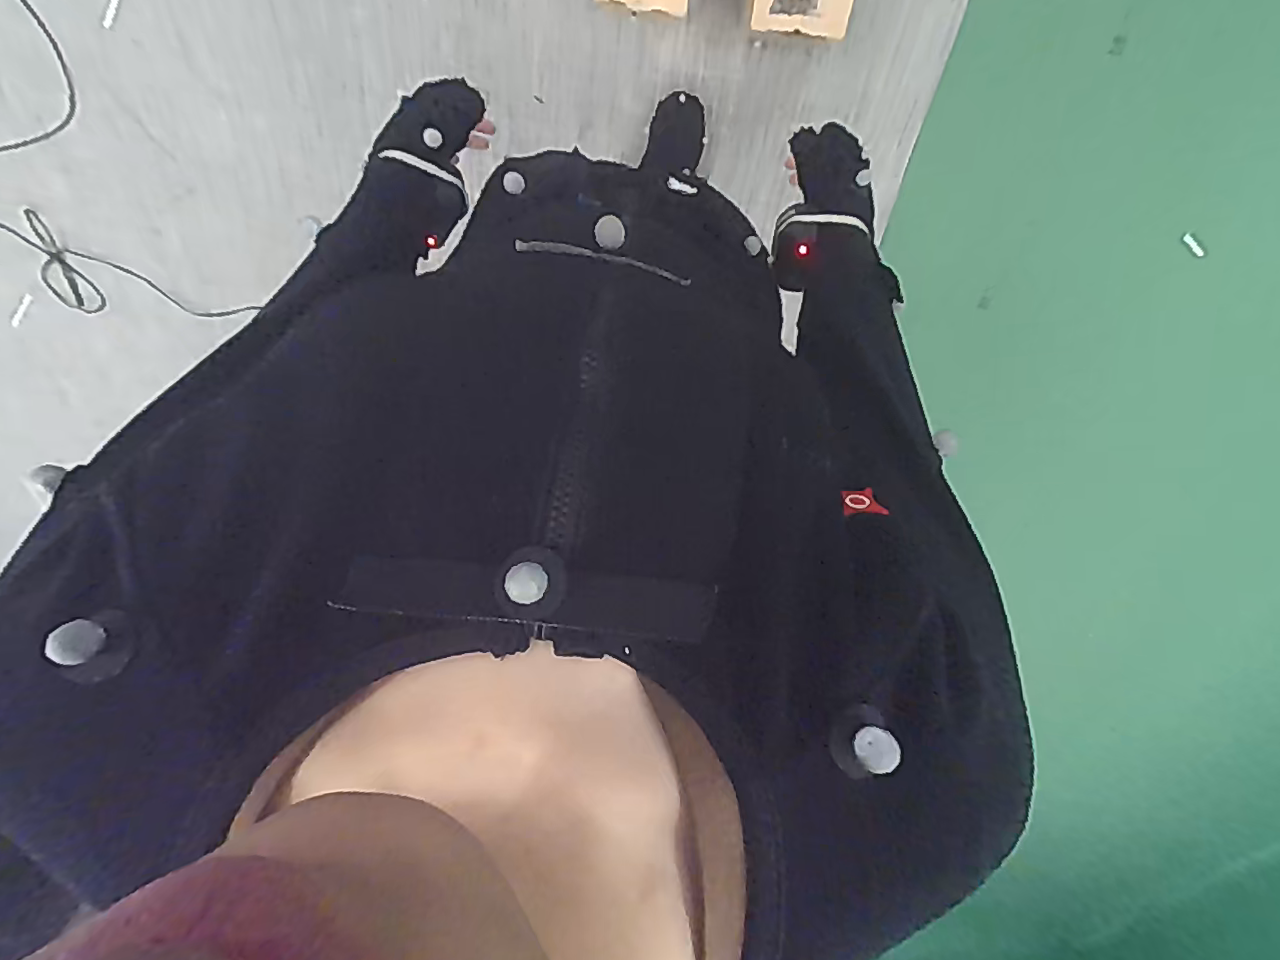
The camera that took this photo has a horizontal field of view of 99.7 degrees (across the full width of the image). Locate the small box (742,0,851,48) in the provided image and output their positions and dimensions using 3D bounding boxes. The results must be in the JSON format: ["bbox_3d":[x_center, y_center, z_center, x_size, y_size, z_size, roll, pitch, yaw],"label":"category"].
[{"bbox_3d":[0.279,-0.878,0.944,0.168,0.176,0.179,7,125,-1],"label":"small box"}]

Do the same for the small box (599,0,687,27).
[{"bbox_3d":[0.013,-0.916,0.934,0.168,0.176,0.179,9,126,-3],"label":"small box"}]
